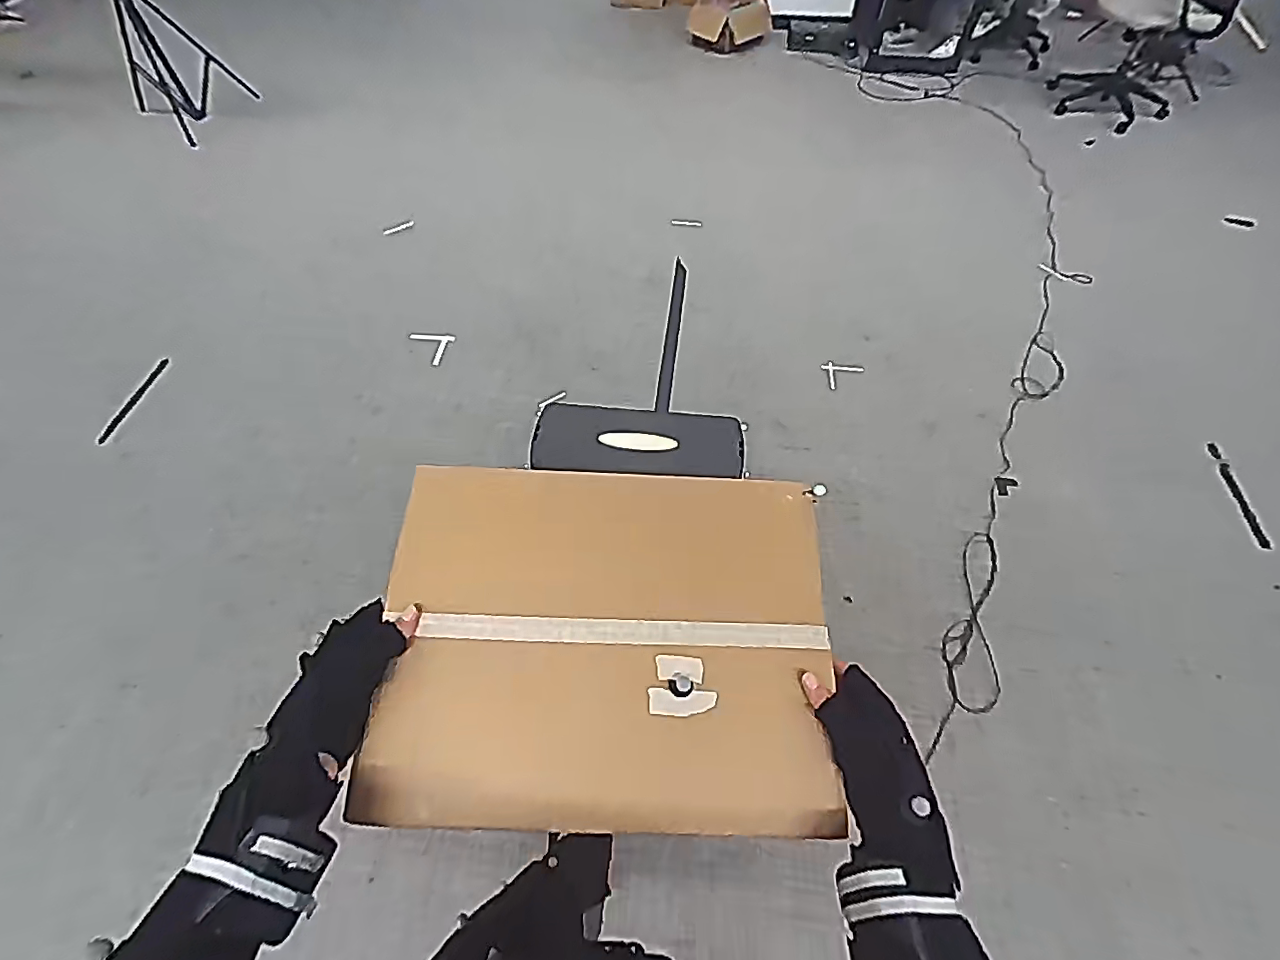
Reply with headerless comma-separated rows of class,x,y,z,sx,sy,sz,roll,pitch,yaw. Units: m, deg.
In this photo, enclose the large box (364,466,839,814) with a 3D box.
large box,-0.035,0.192,0.641,0.408,0.320,0.320,3,67,-2
